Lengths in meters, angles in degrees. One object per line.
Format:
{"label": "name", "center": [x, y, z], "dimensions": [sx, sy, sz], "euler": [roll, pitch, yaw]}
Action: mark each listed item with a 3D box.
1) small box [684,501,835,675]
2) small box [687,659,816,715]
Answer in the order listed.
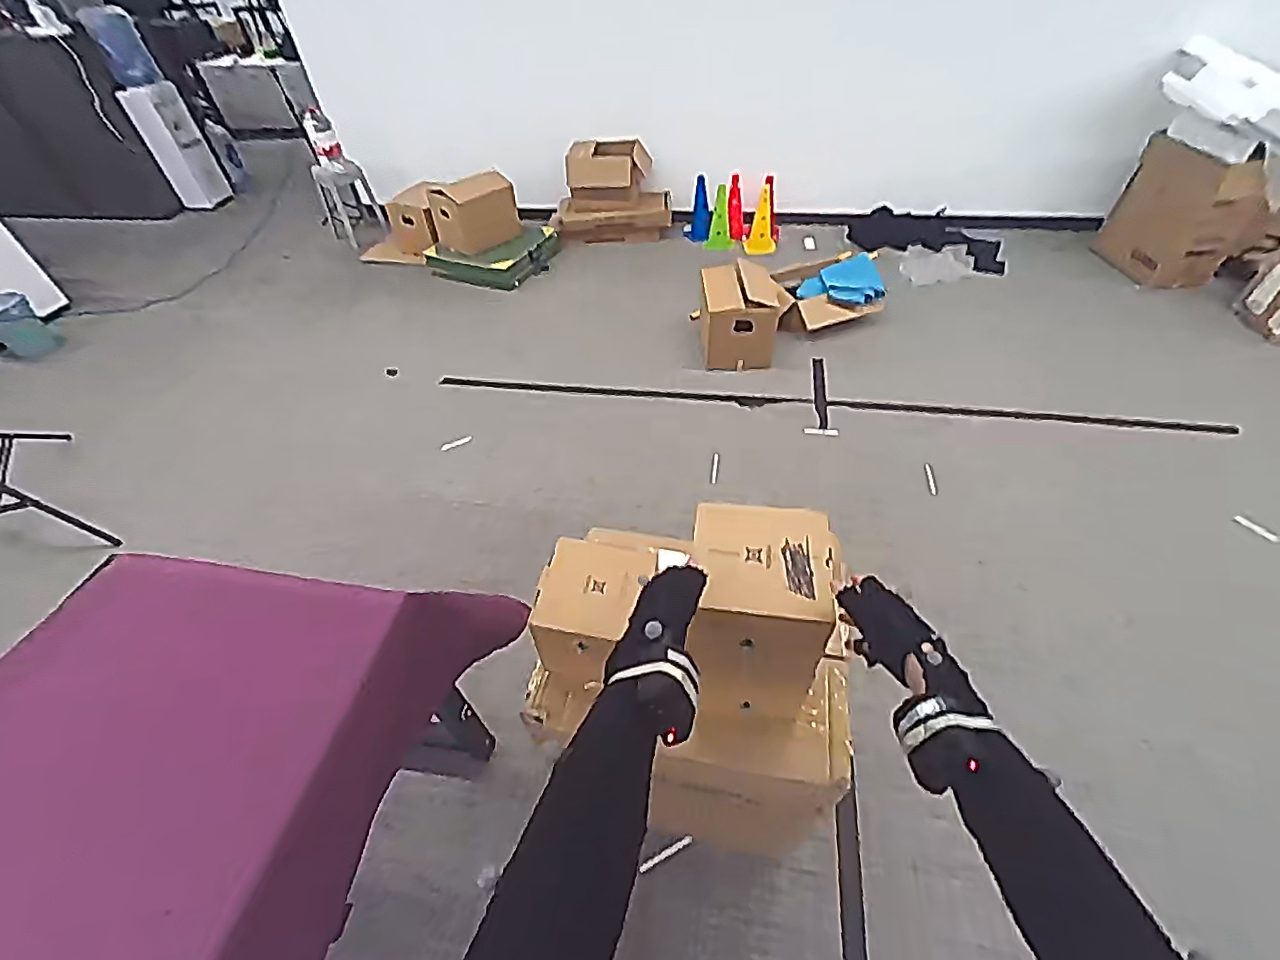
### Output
{"label": "small box", "center": [0.156, 0.150, 0.740], "dimensions": [0.179, 0.176, 0.168], "euler": [4, 48, 10]}
{"label": "small box", "center": [0.167, 0.261, 0.862], "dimensions": [0.179, 0.176, 0.168], "euler": [1, 47, 5]}
